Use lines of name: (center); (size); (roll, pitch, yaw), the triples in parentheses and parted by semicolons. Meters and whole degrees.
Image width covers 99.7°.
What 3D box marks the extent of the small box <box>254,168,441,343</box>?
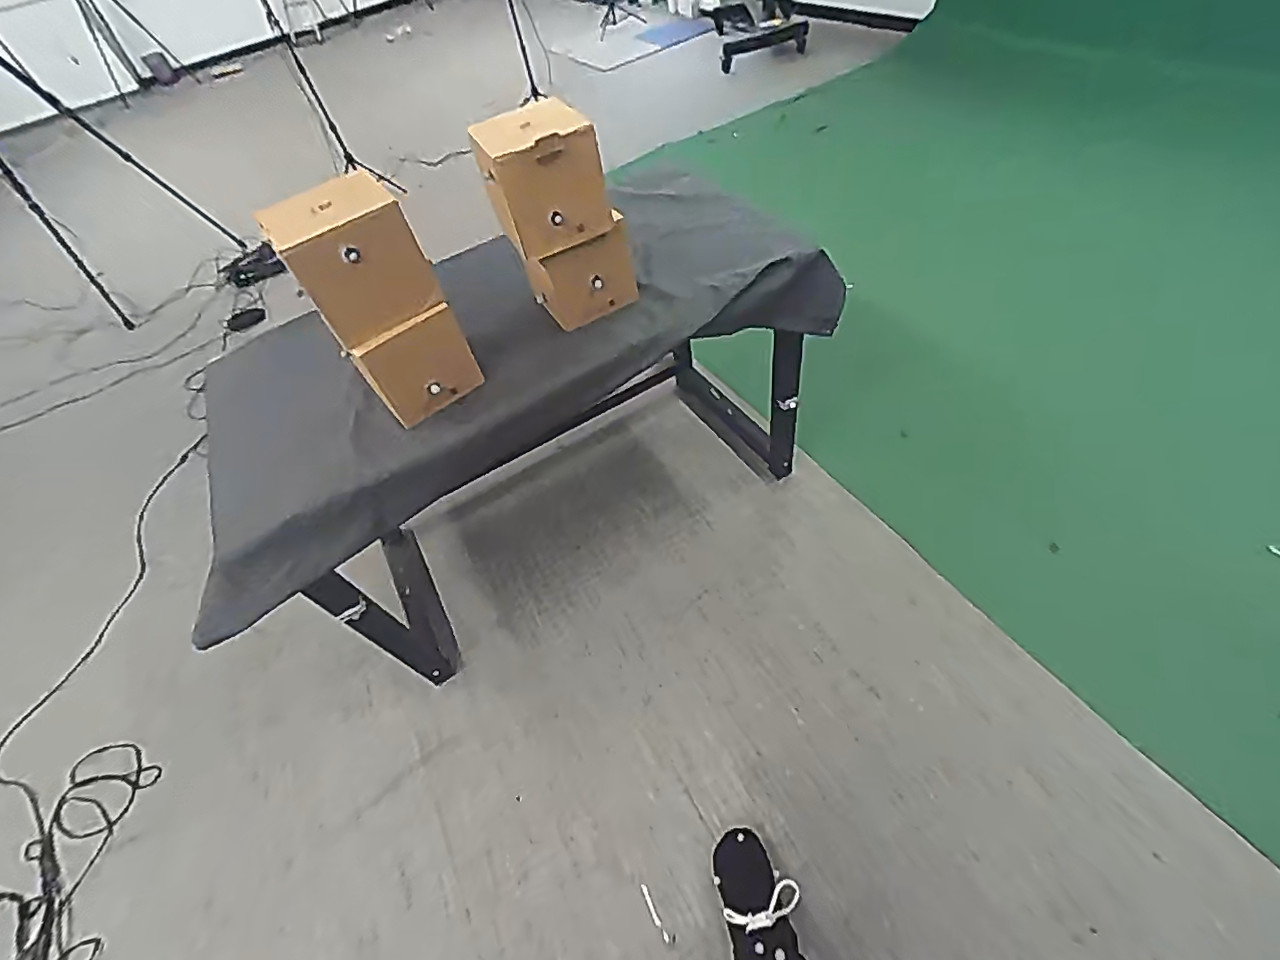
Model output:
small box: (-0.444, -0.344, 0.838); (0.179, 0.176, 0.168); (-34, 55, -17)

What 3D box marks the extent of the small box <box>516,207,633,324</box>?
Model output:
small box: (-0.129, -0.430, 1.053); (0.168, 0.176, 0.179); (-29, 53, -12)

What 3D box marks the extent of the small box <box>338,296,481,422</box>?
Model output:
small box: (-0.415, -0.234, 0.955); (0.168, 0.176, 0.179); (-38, 56, -18)

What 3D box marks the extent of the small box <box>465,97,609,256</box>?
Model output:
small box: (-0.170, -0.510, 0.914); (0.168, 0.176, 0.179); (-26, 53, -10)
